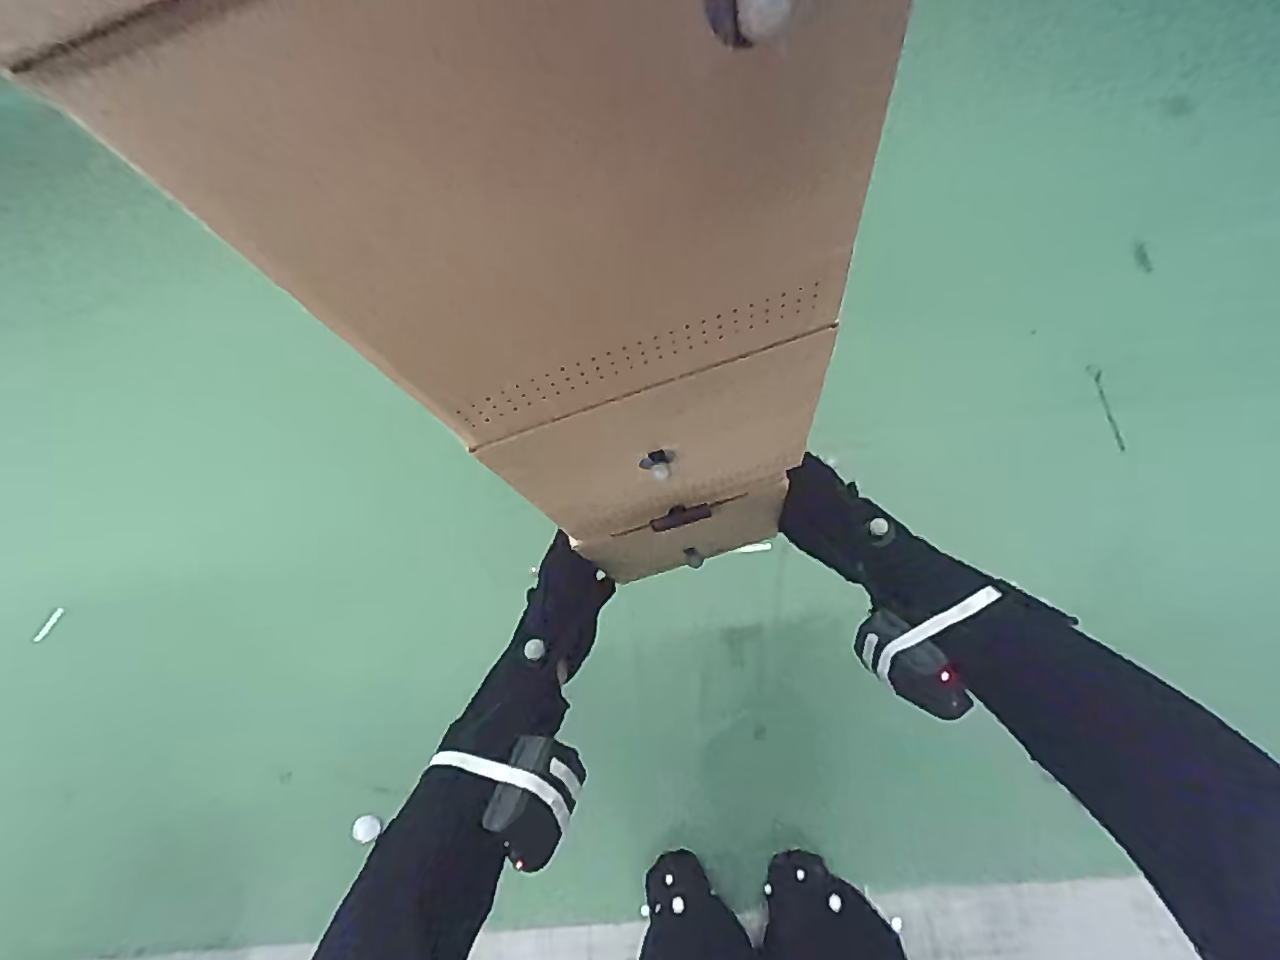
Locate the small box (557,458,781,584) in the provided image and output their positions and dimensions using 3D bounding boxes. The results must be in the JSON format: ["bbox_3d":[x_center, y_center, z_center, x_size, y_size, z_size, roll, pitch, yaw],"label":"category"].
[{"bbox_3d":[0.015,-0.022,0.487,0.168,0.176,0.179,-18,67,5],"label":"small box"}]

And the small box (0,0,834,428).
[{"bbox_3d":[-0.044,-0.141,0.188,0.179,0.176,0.168,-19,67,3],"label":"small box"}]

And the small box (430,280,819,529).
[{"bbox_3d":[-0.011,-0.086,0.334,0.179,0.176,0.168,-16,65,5],"label":"small box"}]
